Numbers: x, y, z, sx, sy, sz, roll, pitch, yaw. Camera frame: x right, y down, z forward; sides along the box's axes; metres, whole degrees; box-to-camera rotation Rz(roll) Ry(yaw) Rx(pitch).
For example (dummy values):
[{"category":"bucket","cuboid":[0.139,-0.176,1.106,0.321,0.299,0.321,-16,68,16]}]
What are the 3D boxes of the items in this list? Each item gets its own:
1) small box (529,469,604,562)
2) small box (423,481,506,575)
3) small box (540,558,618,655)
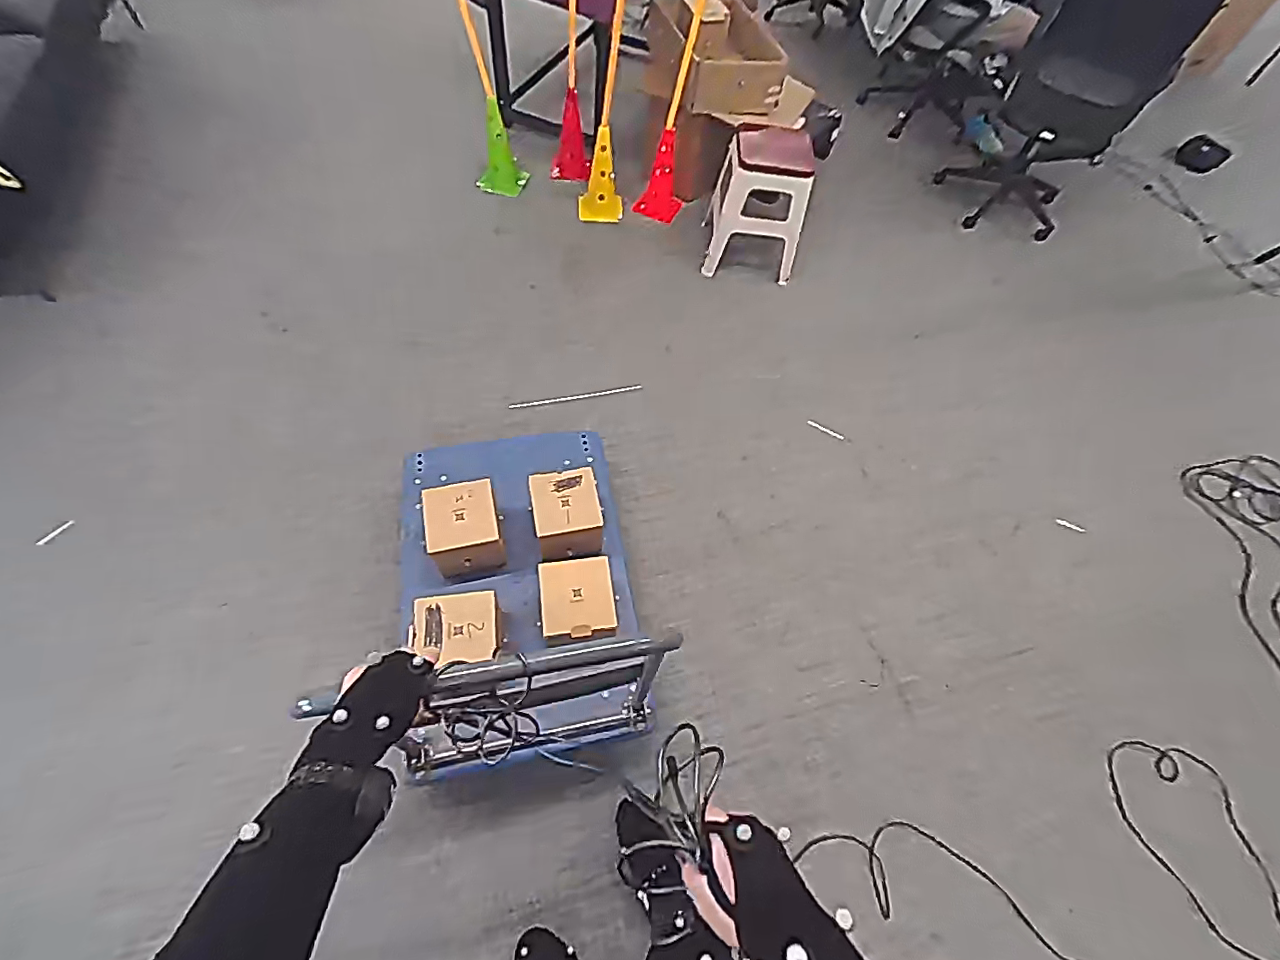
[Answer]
[{"category":"small box","cuboid":[-0.193,0.096,1.421,0.168,0.176,0.179,-9,62,-10]},{"category":"small box","cuboid":[-0.443,0.130,1.377,0.168,0.176,0.179,-10,61,-12]},{"category":"small box","cuboid":[-0.151,0.307,1.305,0.168,0.176,0.179,-6,61,-9]}]
